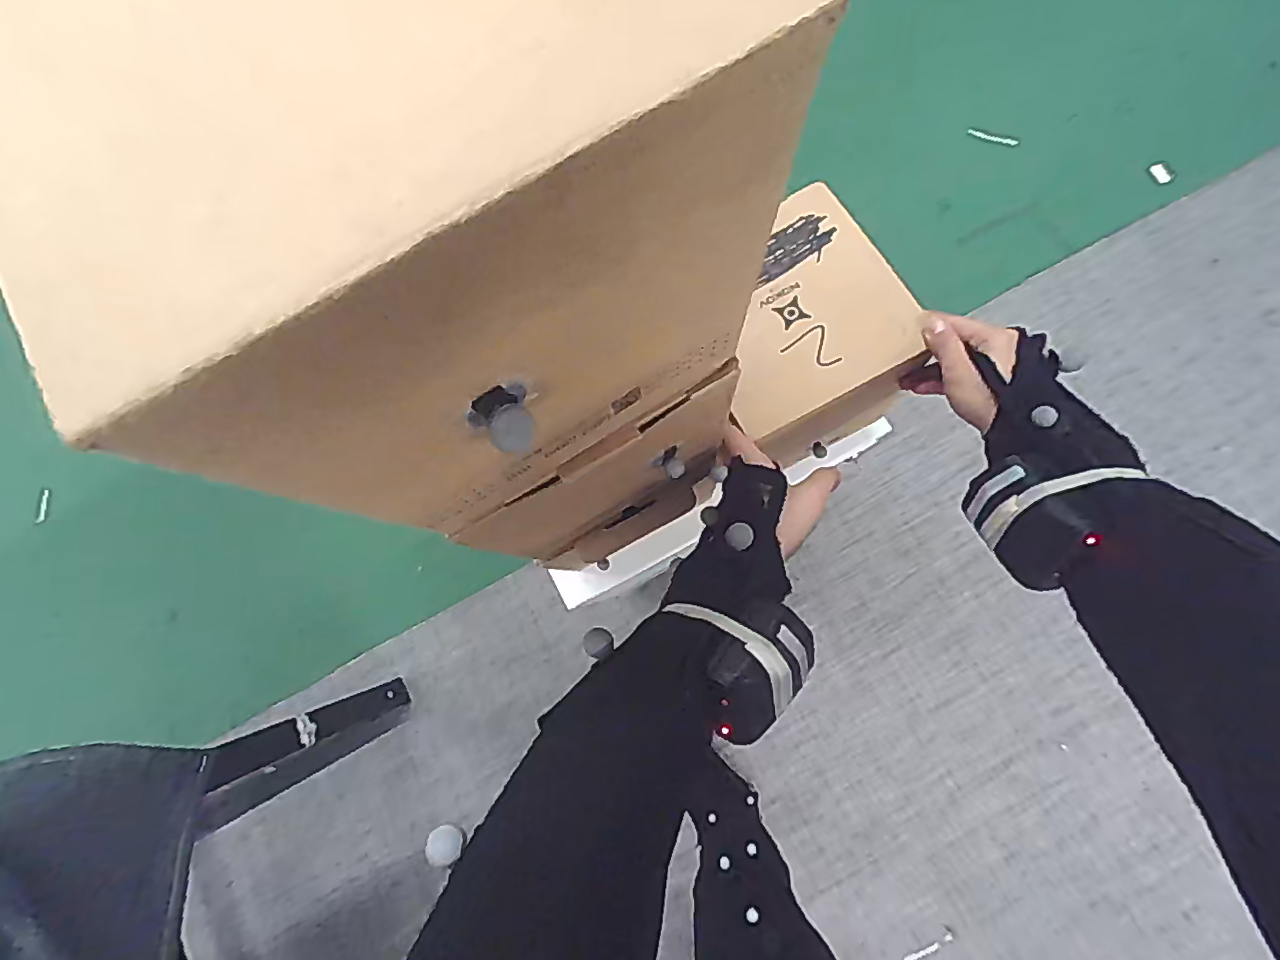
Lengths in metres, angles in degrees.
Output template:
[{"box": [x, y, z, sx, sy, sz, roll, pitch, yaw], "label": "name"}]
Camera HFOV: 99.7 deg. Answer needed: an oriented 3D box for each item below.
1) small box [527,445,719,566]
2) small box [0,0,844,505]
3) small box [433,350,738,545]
[{"box": [-0.041, -0.032, 0.509, 0.168, 0.176, 0.179, -28, 78, -2], "label": "small box"}, {"box": [-0.067, -0.104, 0.193, 0.168, 0.176, 0.179, -32, 78, -4], "label": "small box"}, {"box": [-0.057, -0.069, 0.352, 0.168, 0.176, 0.179, -31, 78, -4], "label": "small box"}]
